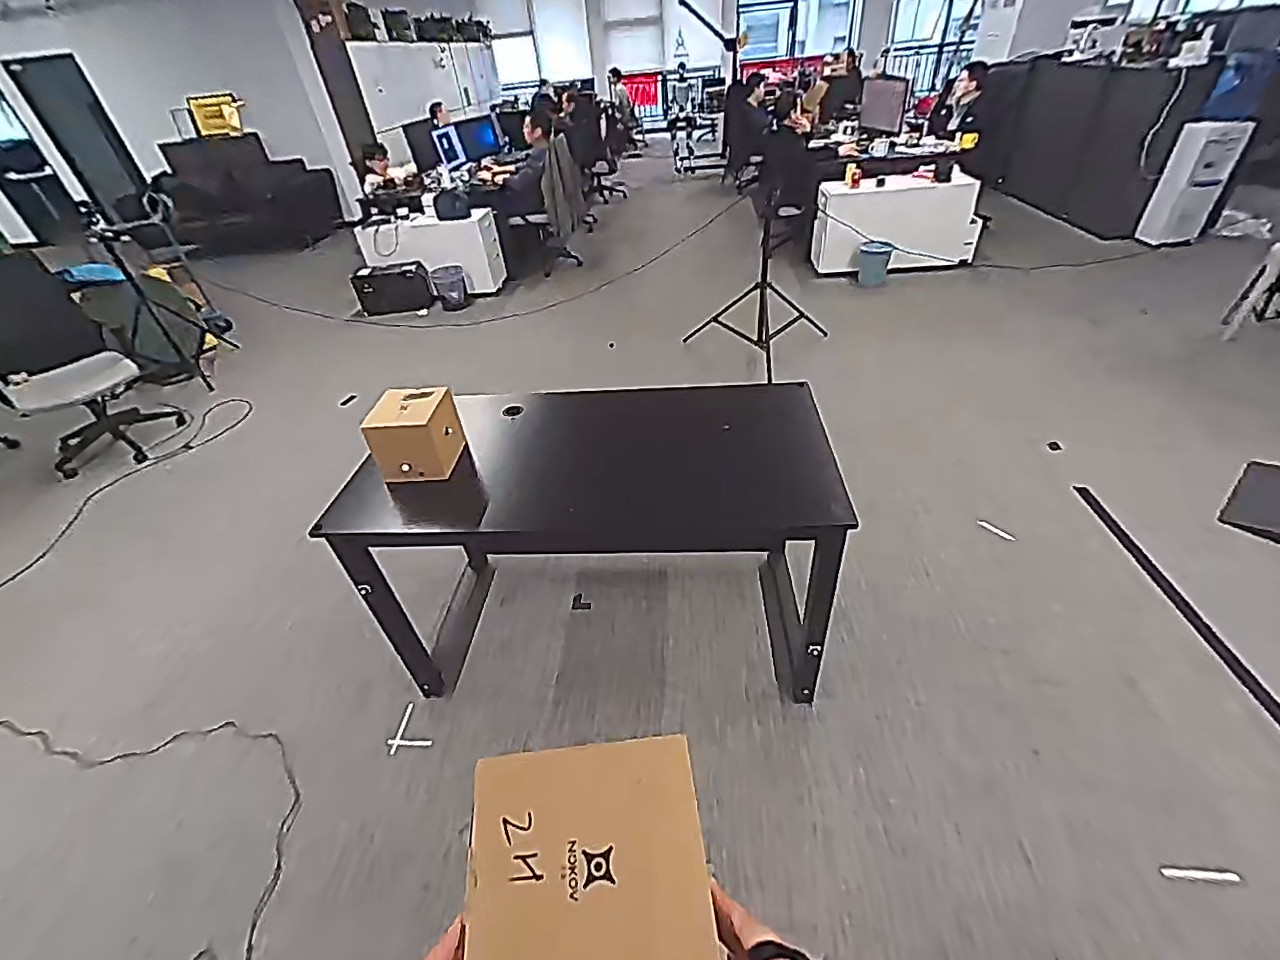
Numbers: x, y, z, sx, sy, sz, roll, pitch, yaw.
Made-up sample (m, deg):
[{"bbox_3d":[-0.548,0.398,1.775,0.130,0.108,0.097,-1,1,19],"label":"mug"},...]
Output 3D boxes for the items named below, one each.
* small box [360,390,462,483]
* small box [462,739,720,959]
[{"bbox_3d":[-0.566,-0.109,1.366,0.168,0.176,0.179,-3,39,4],"label":"small box"},{"bbox_3d":[-0.039,0.337,0.458,0.179,0.176,0.168,-6,49,-4],"label":"small box"}]
